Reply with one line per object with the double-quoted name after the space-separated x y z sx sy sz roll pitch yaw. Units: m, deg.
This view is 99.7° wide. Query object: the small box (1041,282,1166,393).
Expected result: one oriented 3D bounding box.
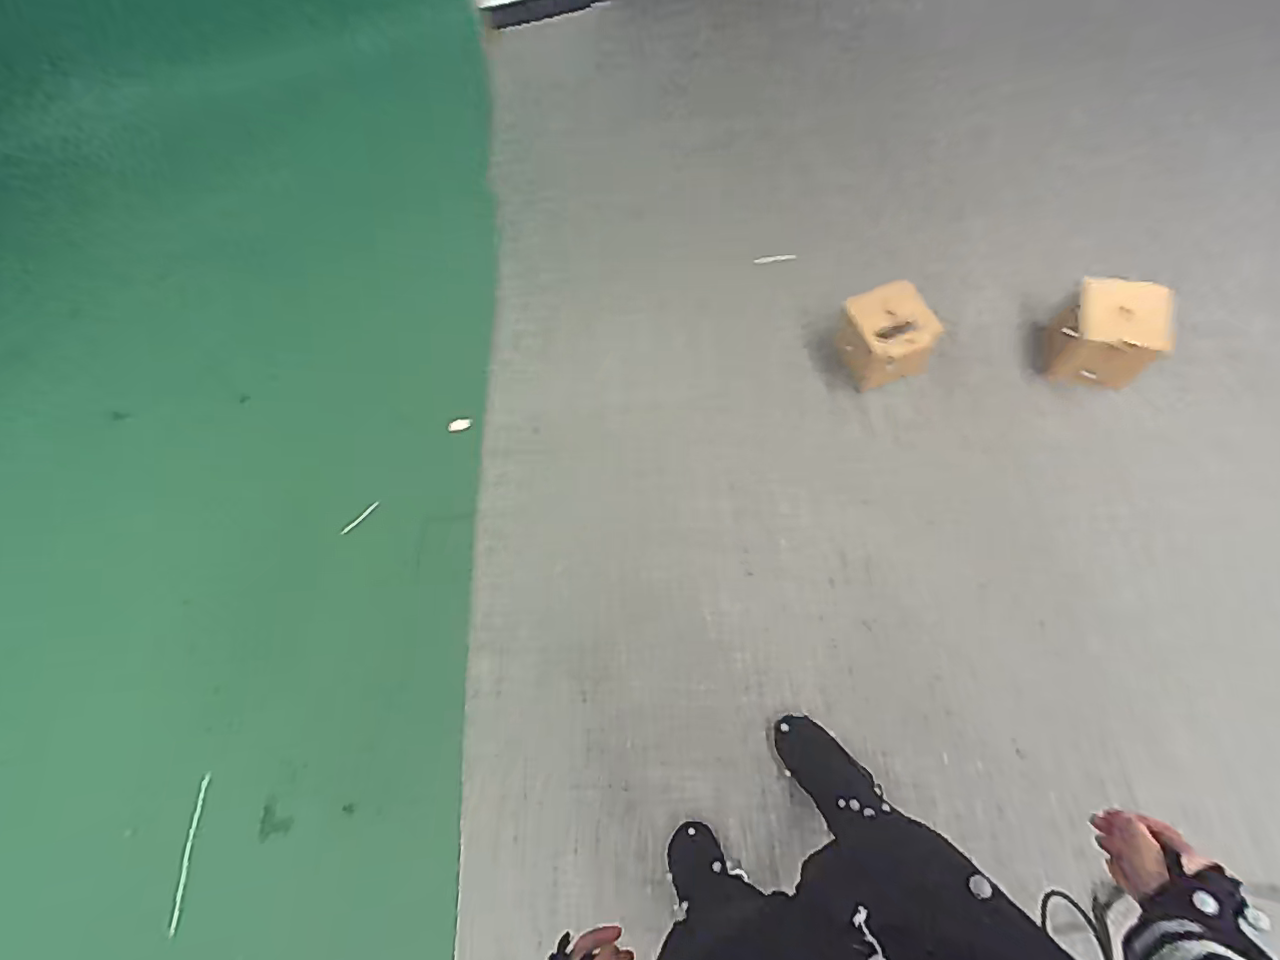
1.074 -0.331 1.267 0.168 0.176 0.179 11 71 13 "small box"
